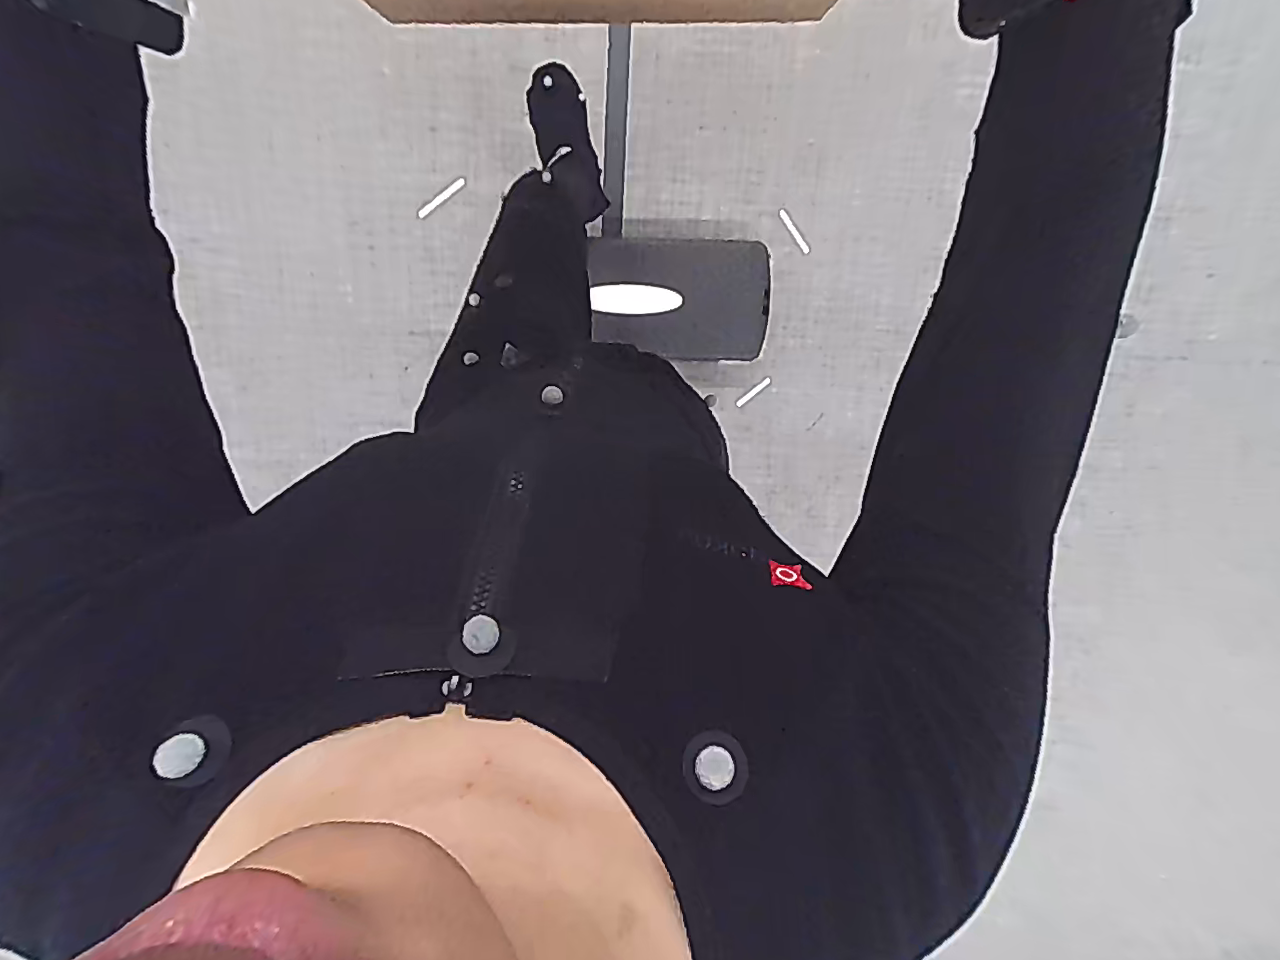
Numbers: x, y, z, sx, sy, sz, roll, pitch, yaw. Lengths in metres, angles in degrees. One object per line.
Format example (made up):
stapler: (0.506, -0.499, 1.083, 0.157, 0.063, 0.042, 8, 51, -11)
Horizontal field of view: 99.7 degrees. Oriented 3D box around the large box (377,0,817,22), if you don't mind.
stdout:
large box: (-0.035, -0.508, 0.306, 0.408, 0.320, 0.320, -1, 116, 0)
